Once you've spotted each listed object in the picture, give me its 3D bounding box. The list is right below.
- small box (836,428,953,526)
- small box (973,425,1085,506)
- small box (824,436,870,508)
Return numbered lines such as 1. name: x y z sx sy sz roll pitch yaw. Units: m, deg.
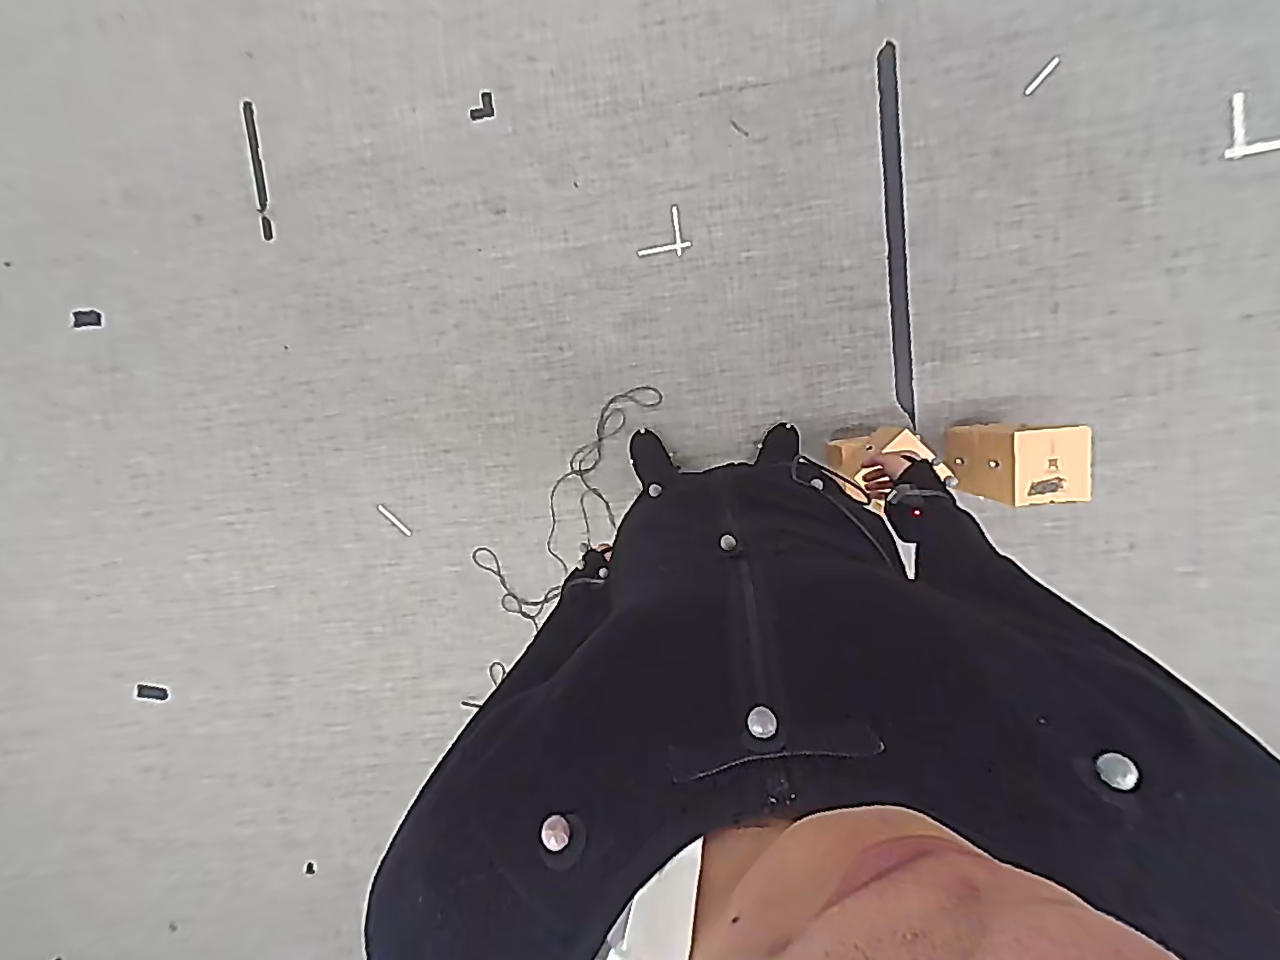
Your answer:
1. small box: 0.623 -0.014 1.351 0.179 0.176 0.168 44 99 -2
2. small box: 0.938 -0.041 1.317 0.168 0.176 0.179 -5 96 5
3. small box: 0.625 -0.030 1.515 0.168 0.176 0.179 -9 97 6
